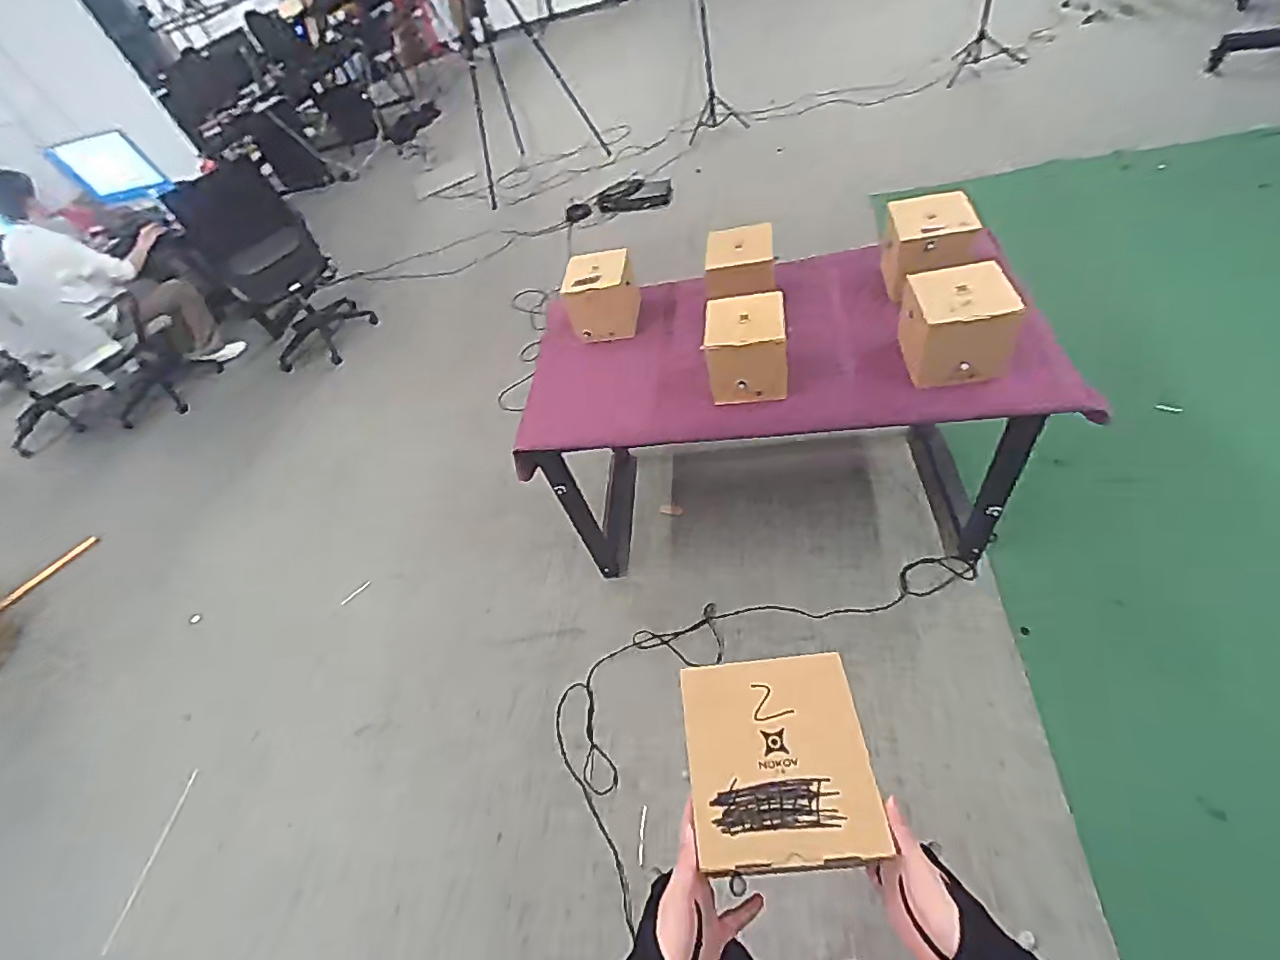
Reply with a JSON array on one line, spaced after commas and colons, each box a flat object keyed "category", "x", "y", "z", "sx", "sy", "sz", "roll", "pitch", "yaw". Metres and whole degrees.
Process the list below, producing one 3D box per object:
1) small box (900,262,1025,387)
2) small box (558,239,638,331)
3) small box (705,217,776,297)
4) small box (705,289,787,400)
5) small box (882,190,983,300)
[{"category": "small box", "x": 0.647, "y": -0.315, "z": 1.111, "sx": 0.168, "sy": 0.176, "sz": 0.179, "roll": -5, "pitch": 52, "yaw": 13}, {"category": "small box", "x": -0.107, "y": -0.522, "z": 1.470, "sx": 0.168, "sy": 0.176, "sz": 0.179, "roll": -2, "pitch": 54, "yaw": 13}, {"category": "small box", "x": 0.263, "y": -0.547, "z": 1.398, "sx": 0.168, "sy": 0.176, "sz": 0.179, "roll": -1, "pitch": 54, "yaw": 15}, {"category": "small box", "x": 0.240, "y": -0.301, "z": 1.214, "sx": 0.168, "sy": 0.176, "sz": 0.179, "roll": -2, "pitch": 52, "yaw": 13}, {"category": "small box", "x": 0.686, "y": -0.558, "z": 1.292, "sx": 0.168, "sy": 0.176, "sz": 0.179, "roll": -3, "pitch": 53, "yaw": 14}]
